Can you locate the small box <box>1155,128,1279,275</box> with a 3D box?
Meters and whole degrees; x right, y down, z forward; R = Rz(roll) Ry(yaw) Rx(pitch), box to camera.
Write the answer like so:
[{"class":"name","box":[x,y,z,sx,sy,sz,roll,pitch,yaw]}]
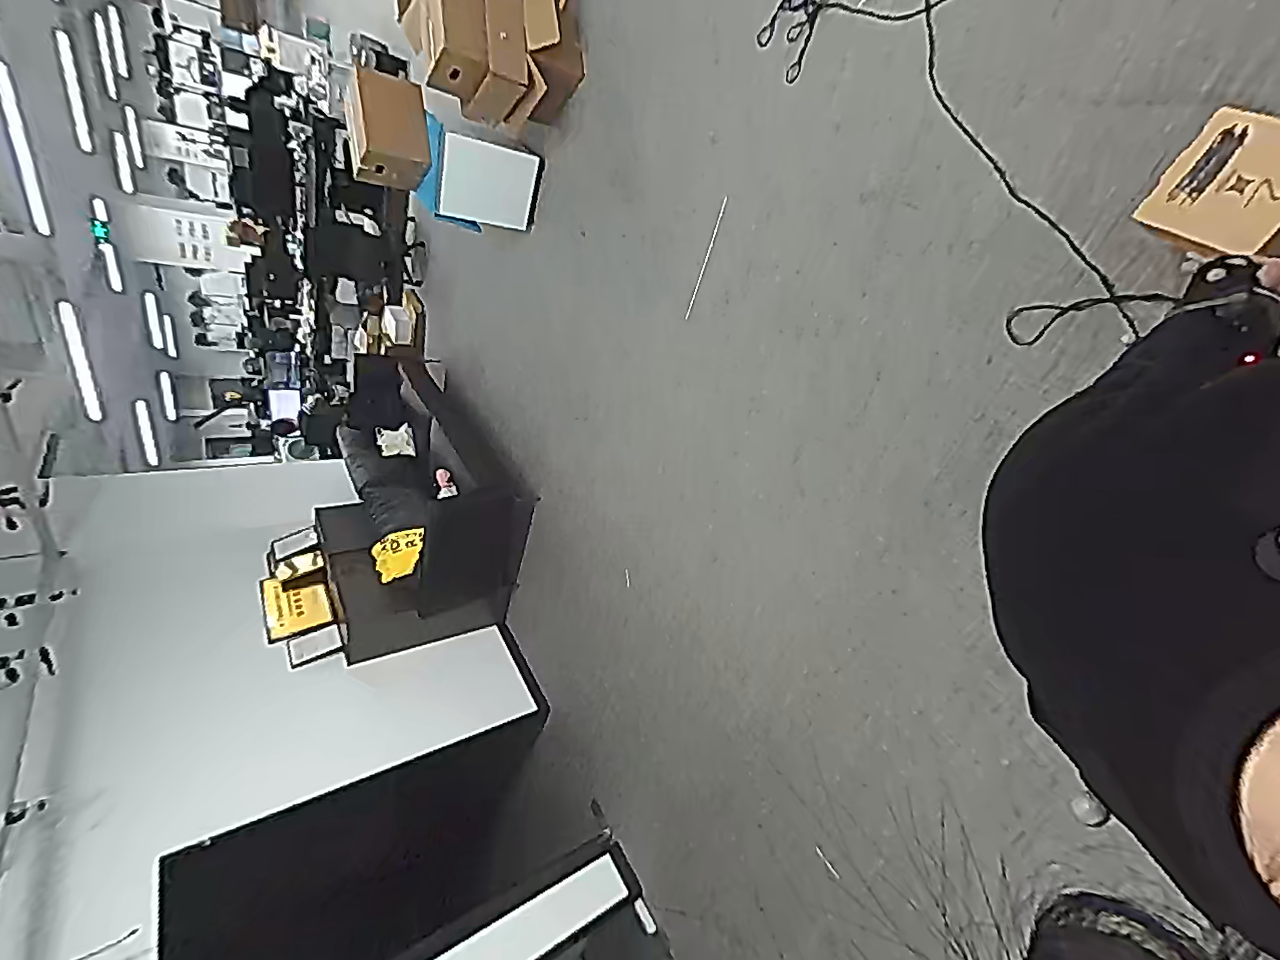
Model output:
[{"class":"small box","box":[1.083,-0.480,0.950,0.168,0.176,0.179,51,134,35]}]
